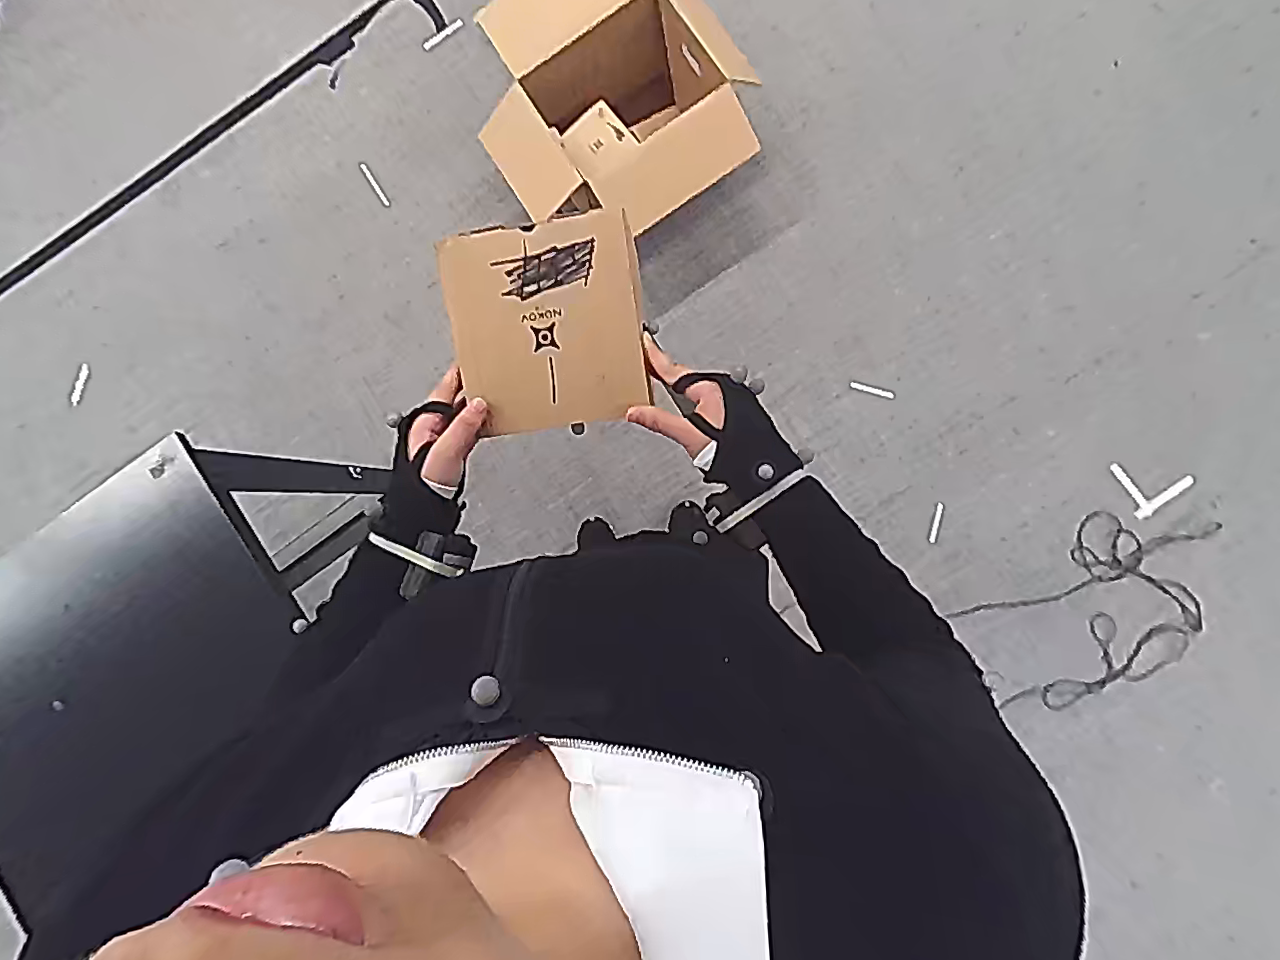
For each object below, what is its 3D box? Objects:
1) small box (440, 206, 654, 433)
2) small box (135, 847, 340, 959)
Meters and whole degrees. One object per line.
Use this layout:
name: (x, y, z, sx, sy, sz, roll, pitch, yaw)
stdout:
small box: (-0.077, -0.148, 0.546, 0.168, 0.176, 0.179, -7, 100, 4)
small box: (-0.532, 0.635, 0.707, 0.179, 0.176, 0.168, -33, 86, 2)
